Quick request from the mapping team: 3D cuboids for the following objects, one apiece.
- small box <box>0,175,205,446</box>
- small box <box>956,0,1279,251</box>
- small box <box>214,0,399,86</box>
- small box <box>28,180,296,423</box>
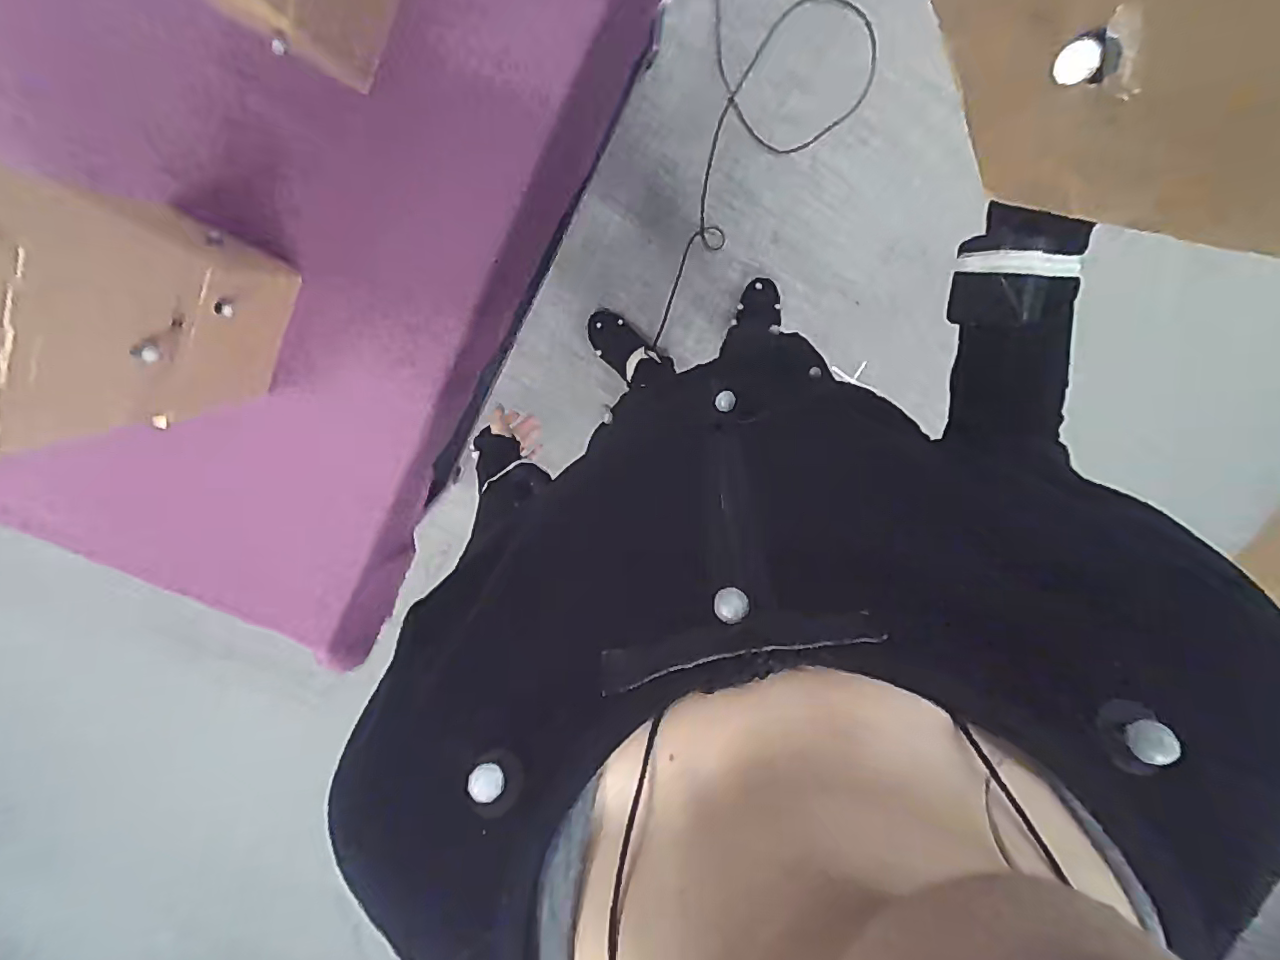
[{"bbox_3d":[-0.517,-0.146,0.439,0.179,0.176,0.168,25,105,-9],"label":"small box"},{"bbox_3d":[0.242,-0.217,0.188,0.179,0.168,0.176,-41,128,11],"label":"small box"},{"bbox_3d":[-0.334,-0.516,0.497,0.168,0.176,0.179,26,105,-11],"label":"small box"},{"bbox_3d":[-0.522,-0.188,0.599,0.168,0.176,0.179,25,105,-9],"label":"small box"}]
